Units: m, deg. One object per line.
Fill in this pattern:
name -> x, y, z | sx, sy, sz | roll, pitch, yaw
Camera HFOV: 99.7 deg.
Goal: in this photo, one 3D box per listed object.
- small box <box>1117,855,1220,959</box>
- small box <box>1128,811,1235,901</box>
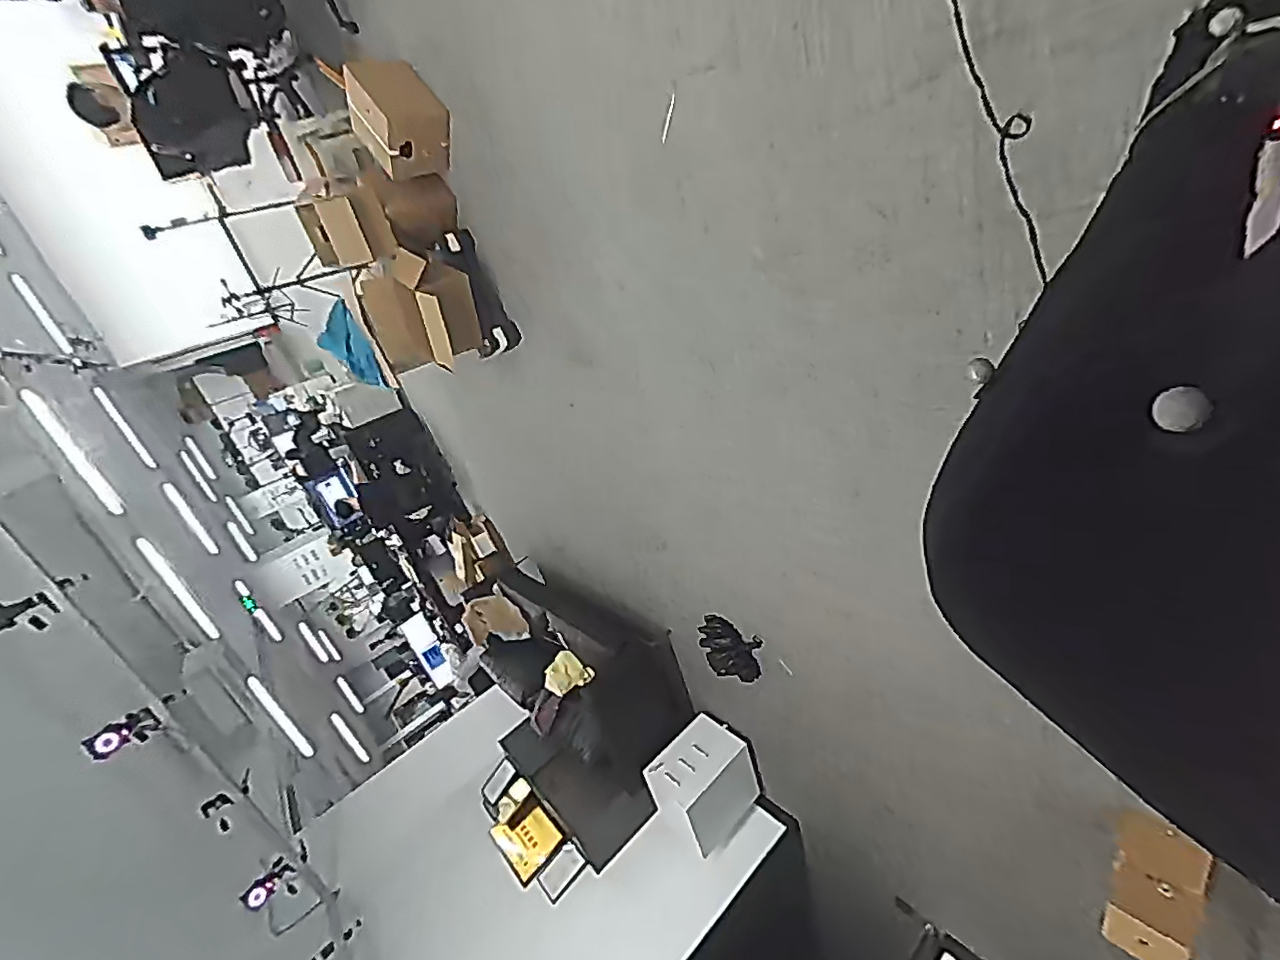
small box -> 1.430, 1.180, 1.464 | 0.168, 0.176, 0.179 | 14, 128, 49
small box -> 1.543, 1.093, 1.544 | 0.179, 0.176, 0.168 | 17, 132, 50
